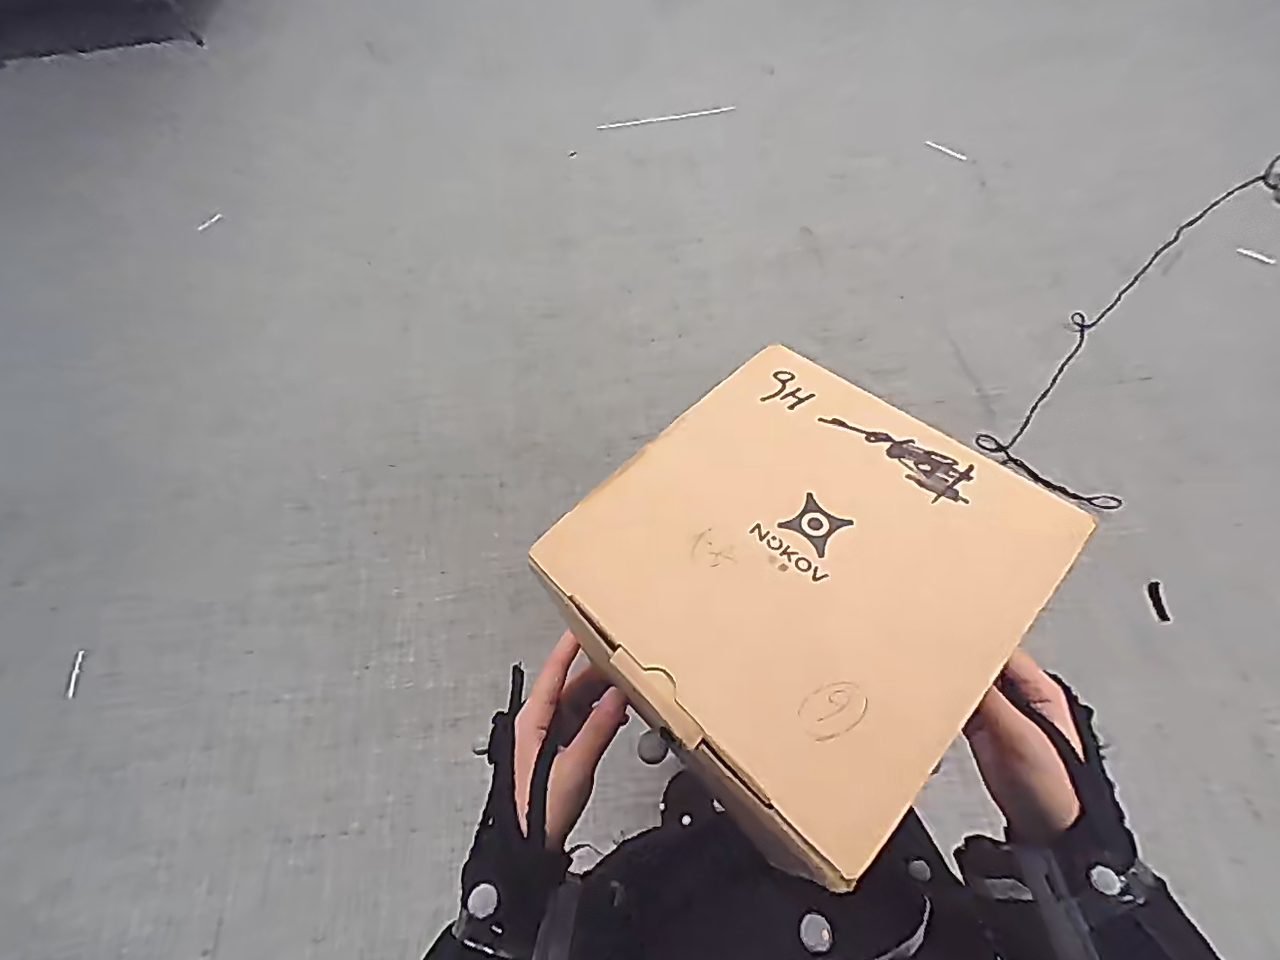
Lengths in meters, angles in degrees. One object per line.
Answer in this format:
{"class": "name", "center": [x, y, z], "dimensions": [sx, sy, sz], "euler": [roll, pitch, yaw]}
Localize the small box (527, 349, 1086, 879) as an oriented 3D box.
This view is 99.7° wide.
{"class": "small box", "center": [0.074, 0.071, 0.294], "dimensions": [0.179, 0.176, 0.168], "euler": [-41, 60, -19]}
